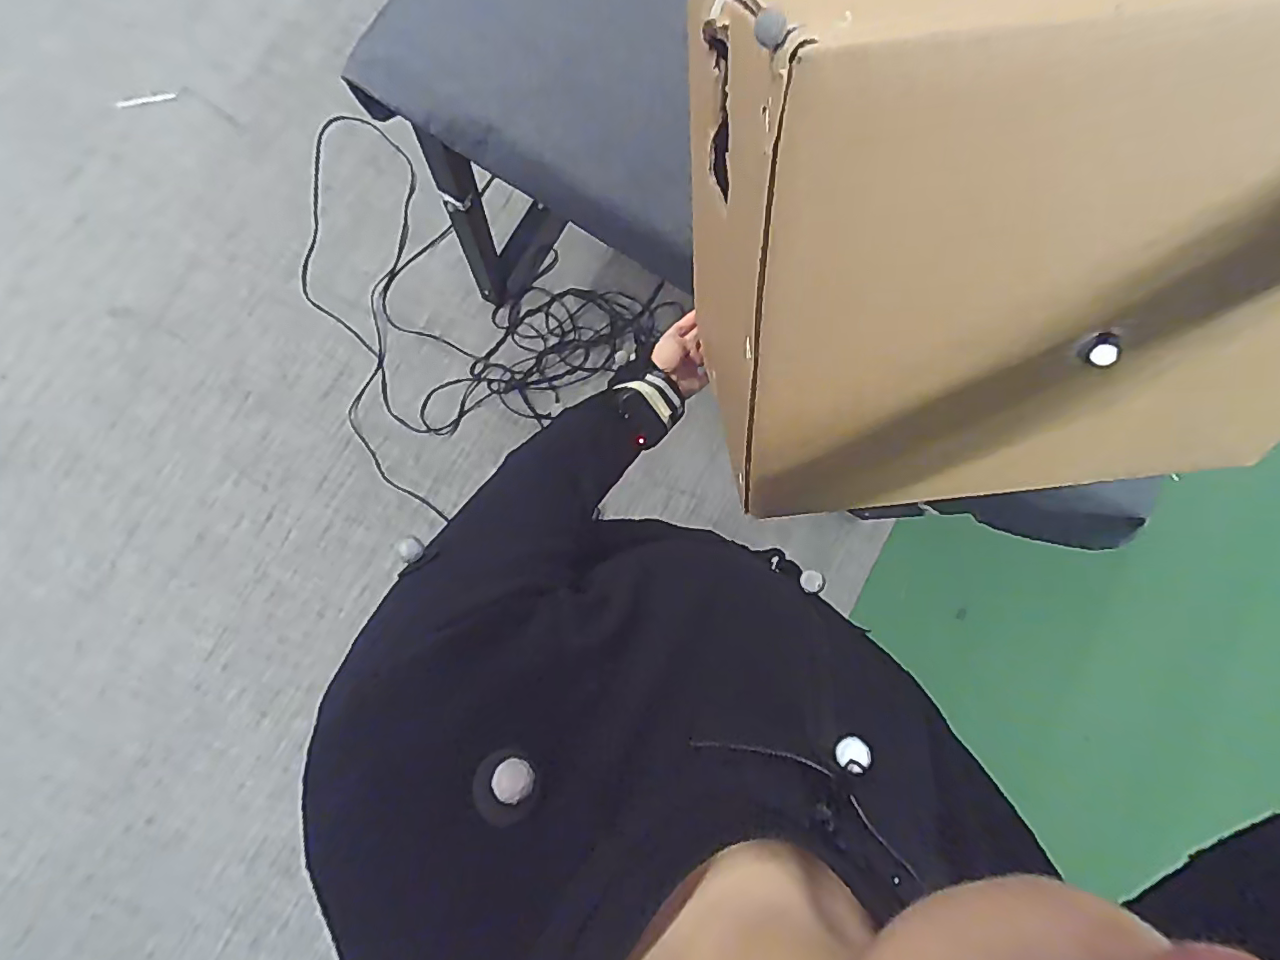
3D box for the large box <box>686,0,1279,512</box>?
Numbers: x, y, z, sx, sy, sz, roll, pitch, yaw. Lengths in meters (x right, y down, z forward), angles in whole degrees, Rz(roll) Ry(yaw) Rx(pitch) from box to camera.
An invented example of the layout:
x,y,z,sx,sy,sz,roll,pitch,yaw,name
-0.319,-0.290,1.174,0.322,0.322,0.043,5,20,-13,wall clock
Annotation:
x,y,z,sx,sy,sz,roll,pitch,yaw,name
0.264,-0.207,0.432,0.408,0.320,0.320,-9,48,2,large box
